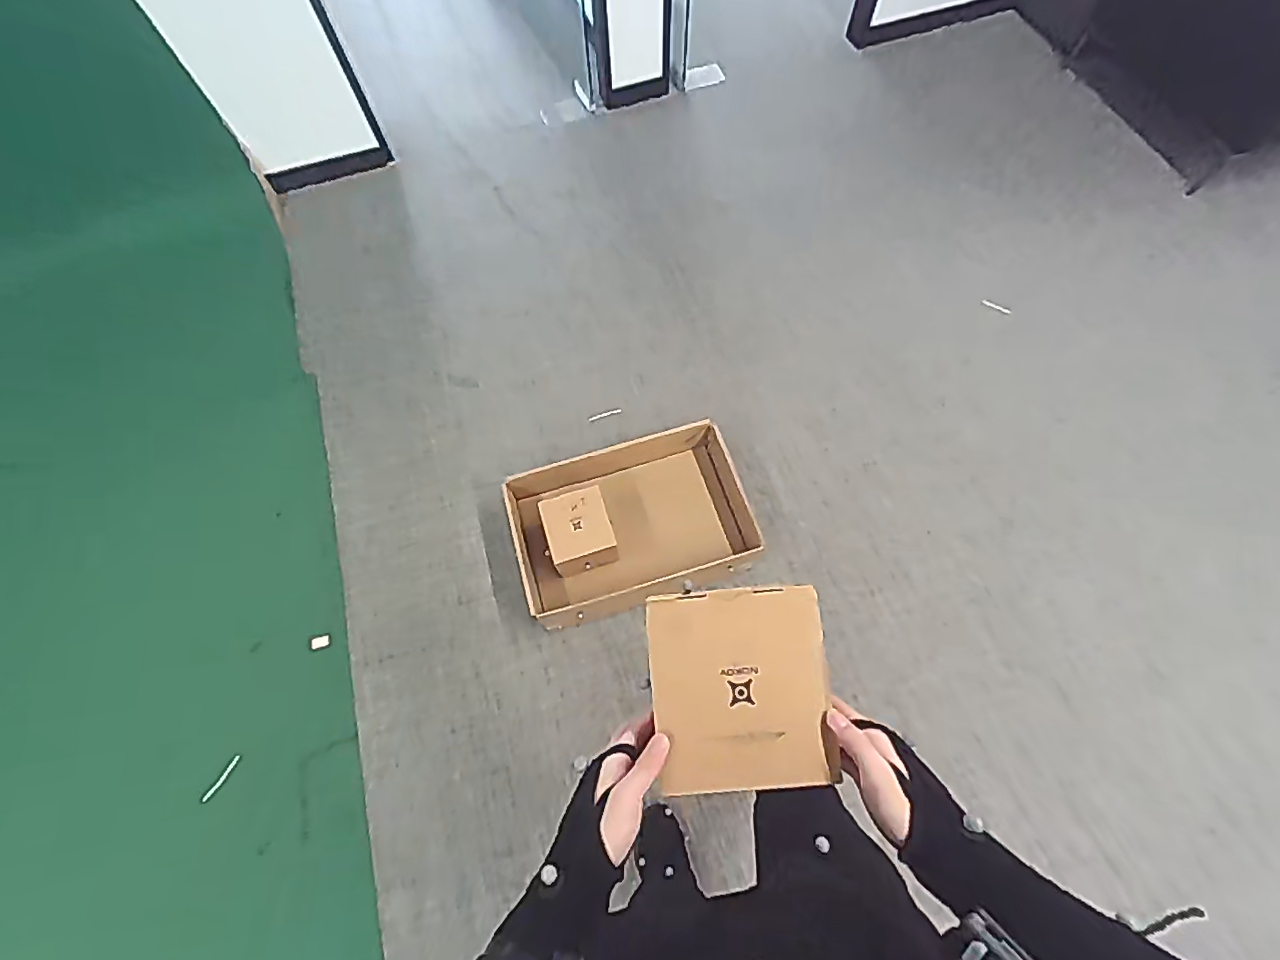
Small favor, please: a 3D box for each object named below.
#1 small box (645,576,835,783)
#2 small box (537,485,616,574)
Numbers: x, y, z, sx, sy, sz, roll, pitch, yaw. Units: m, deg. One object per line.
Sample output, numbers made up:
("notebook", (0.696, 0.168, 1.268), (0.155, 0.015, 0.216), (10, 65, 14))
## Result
("small box", (0.091, 0.199, 0.576), (0.168, 0.176, 0.179), (-4, 78, 2))
("small box", (-0.165, 0.142, 1.446), (0.168, 0.176, 0.179), (-16, 67, -7))
